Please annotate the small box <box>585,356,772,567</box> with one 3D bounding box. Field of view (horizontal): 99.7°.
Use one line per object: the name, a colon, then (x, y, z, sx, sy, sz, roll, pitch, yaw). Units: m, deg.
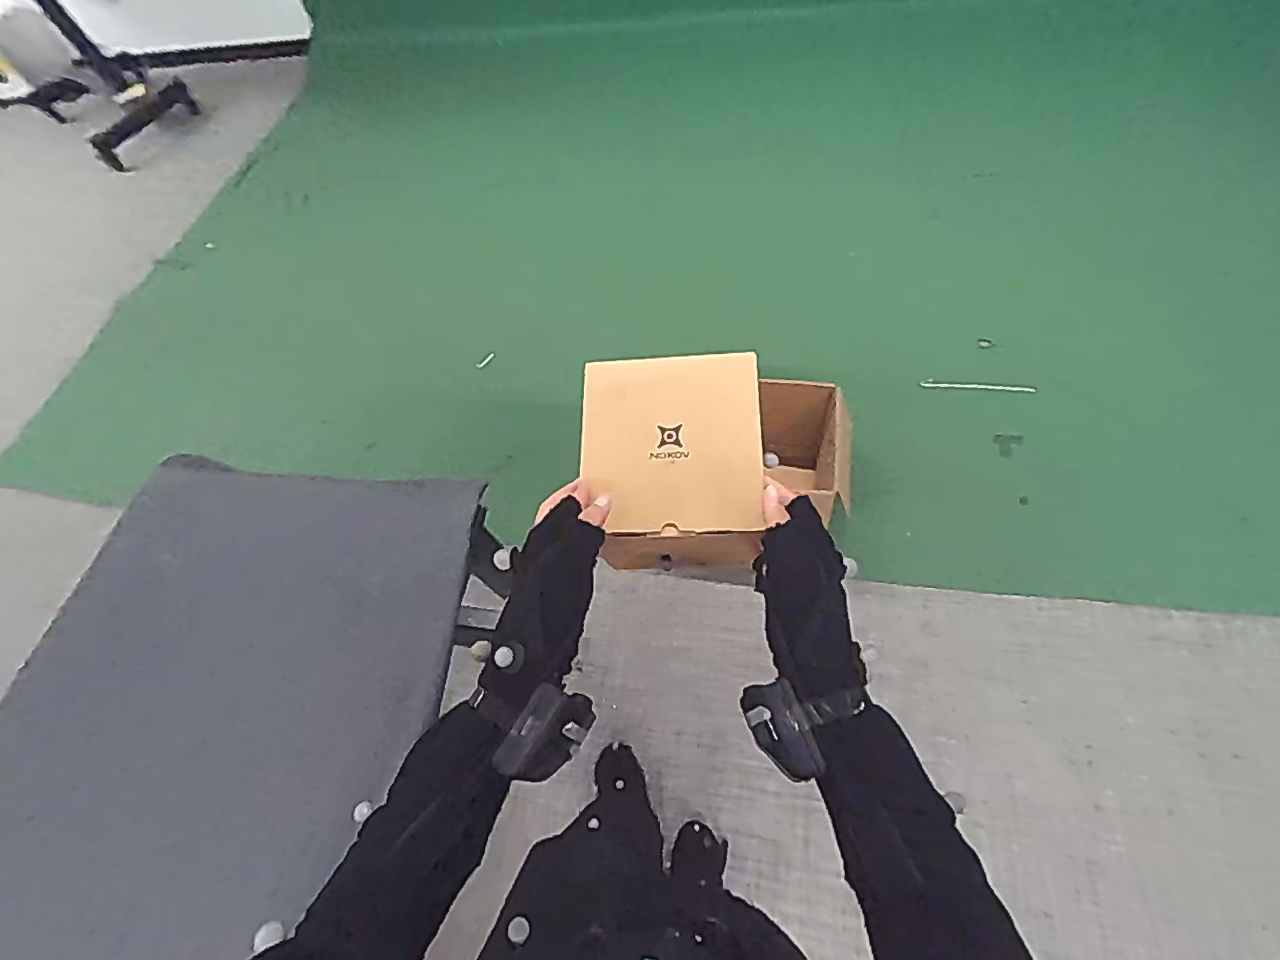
small box: (0.043, -0.010, 0.568, 0.168, 0.176, 0.179, -2, 72, 7)
